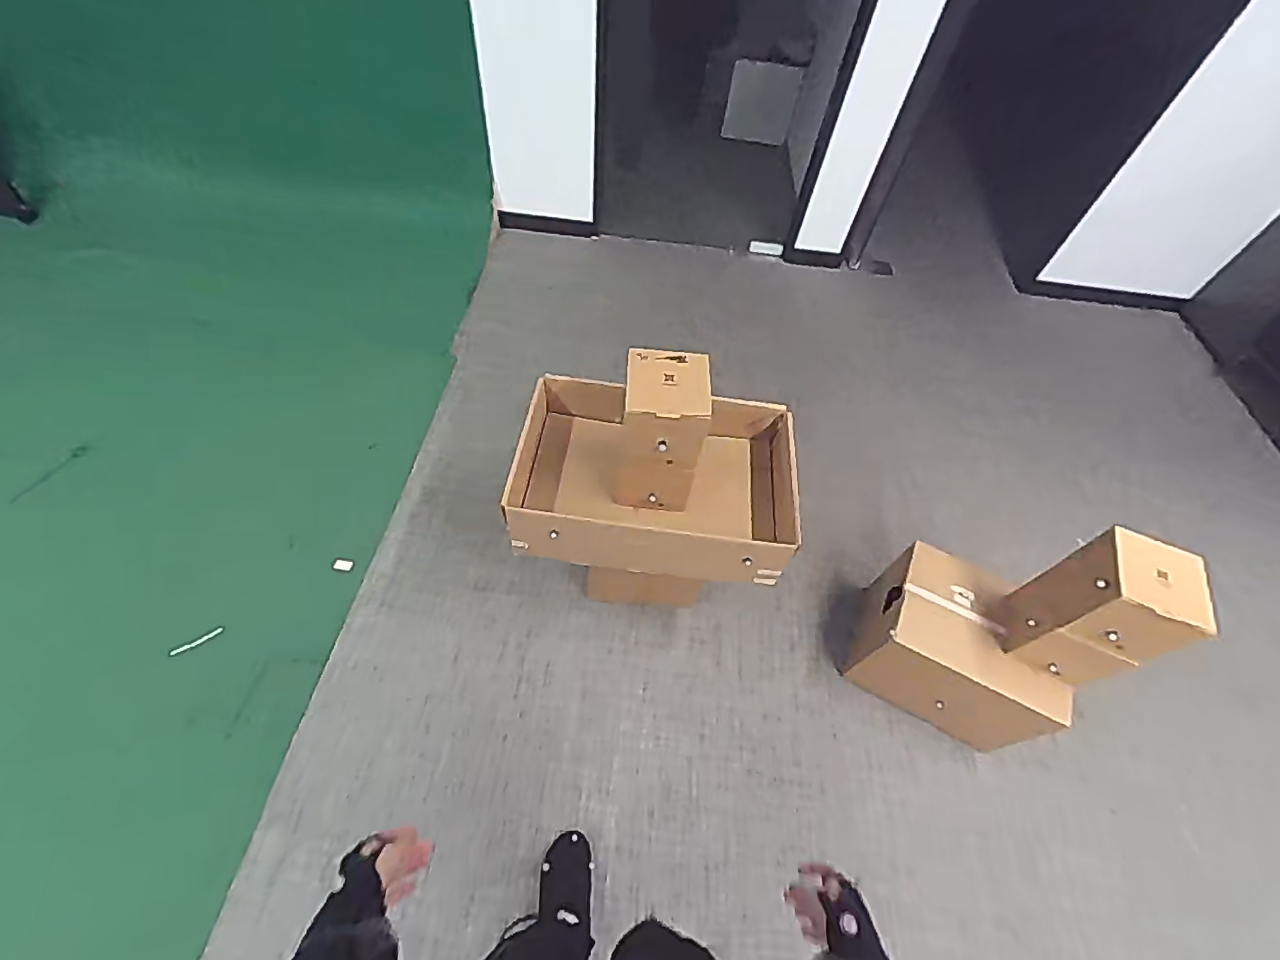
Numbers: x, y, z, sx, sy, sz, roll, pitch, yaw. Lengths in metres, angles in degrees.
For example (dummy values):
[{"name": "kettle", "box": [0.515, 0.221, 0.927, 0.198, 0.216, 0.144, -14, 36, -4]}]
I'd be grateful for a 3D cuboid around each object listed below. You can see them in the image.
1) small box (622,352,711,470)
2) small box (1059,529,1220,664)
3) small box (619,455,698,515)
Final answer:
[{"name": "small box", "box": [0.051, -0.137, 1.120, 0.168, 0.176, 0.179, 5, 55, -3]}, {"name": "small box", "box": [0.981, 0.236, 1.083, 0.168, 0.176, 0.179, 23, 55, 10]}, {"name": "small box", "box": [0.042, -0.042, 1.253, 0.168, 0.176, 0.179, 6, 55, -1]}]
